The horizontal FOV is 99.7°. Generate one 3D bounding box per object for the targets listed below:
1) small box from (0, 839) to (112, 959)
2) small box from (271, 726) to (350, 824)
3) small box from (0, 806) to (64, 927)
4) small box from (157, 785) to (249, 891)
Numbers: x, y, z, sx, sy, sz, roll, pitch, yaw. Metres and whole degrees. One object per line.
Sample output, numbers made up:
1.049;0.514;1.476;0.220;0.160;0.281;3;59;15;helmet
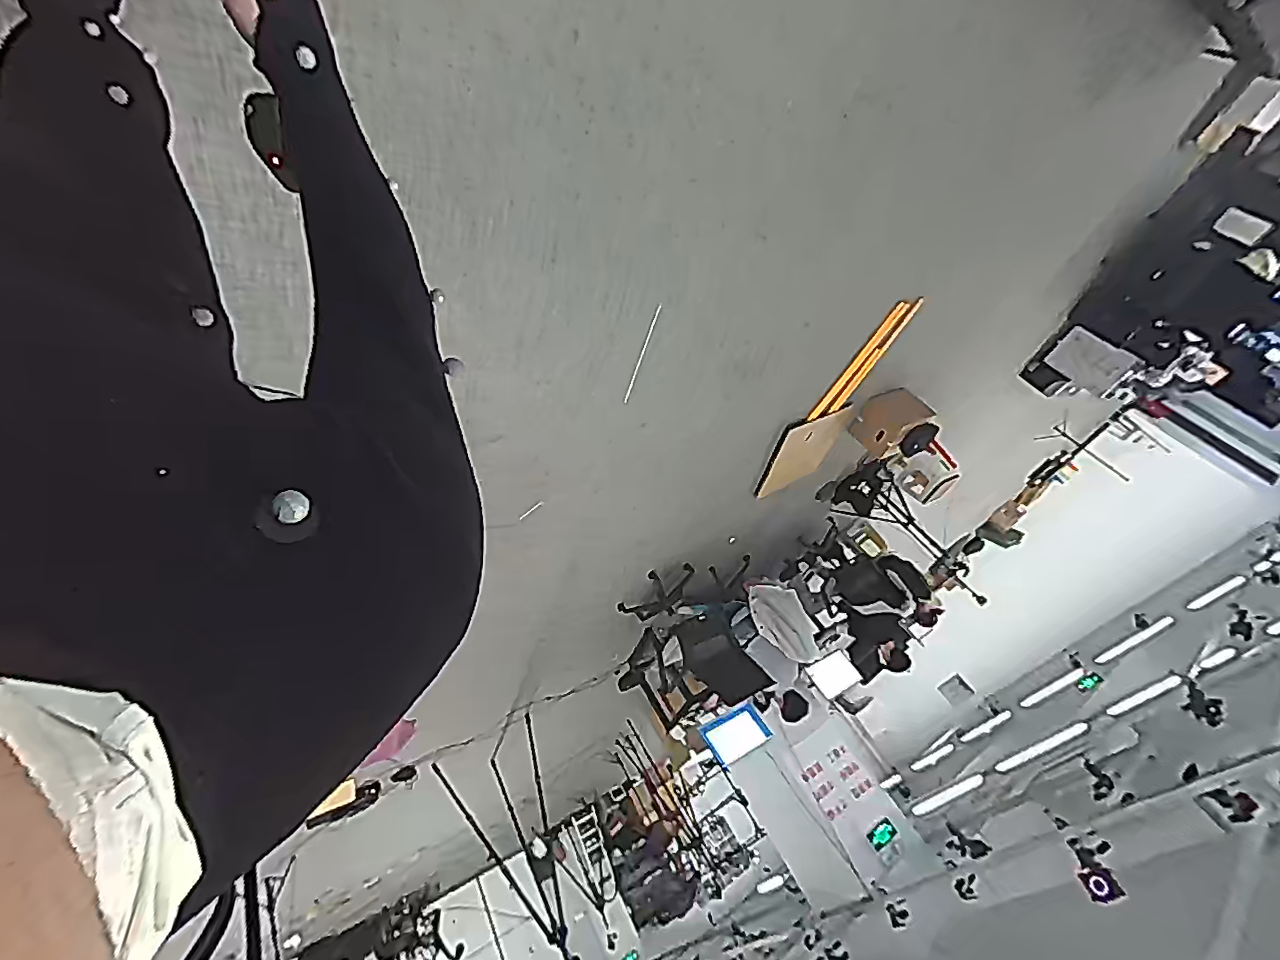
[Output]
-1.426;1.019;1.320;0.168;0.176;0.179;-13;141;-35;small box
-0.943;0.841;1.552;0.168;0.176;0.179;-12;142;-37;small box
-1.341;0.818;1.127;0.168;0.176;0.179;-11;142;-37;small box
-1.198;0.975;1.485;0.168;0.176;0.179;-12;142;-35;small box
